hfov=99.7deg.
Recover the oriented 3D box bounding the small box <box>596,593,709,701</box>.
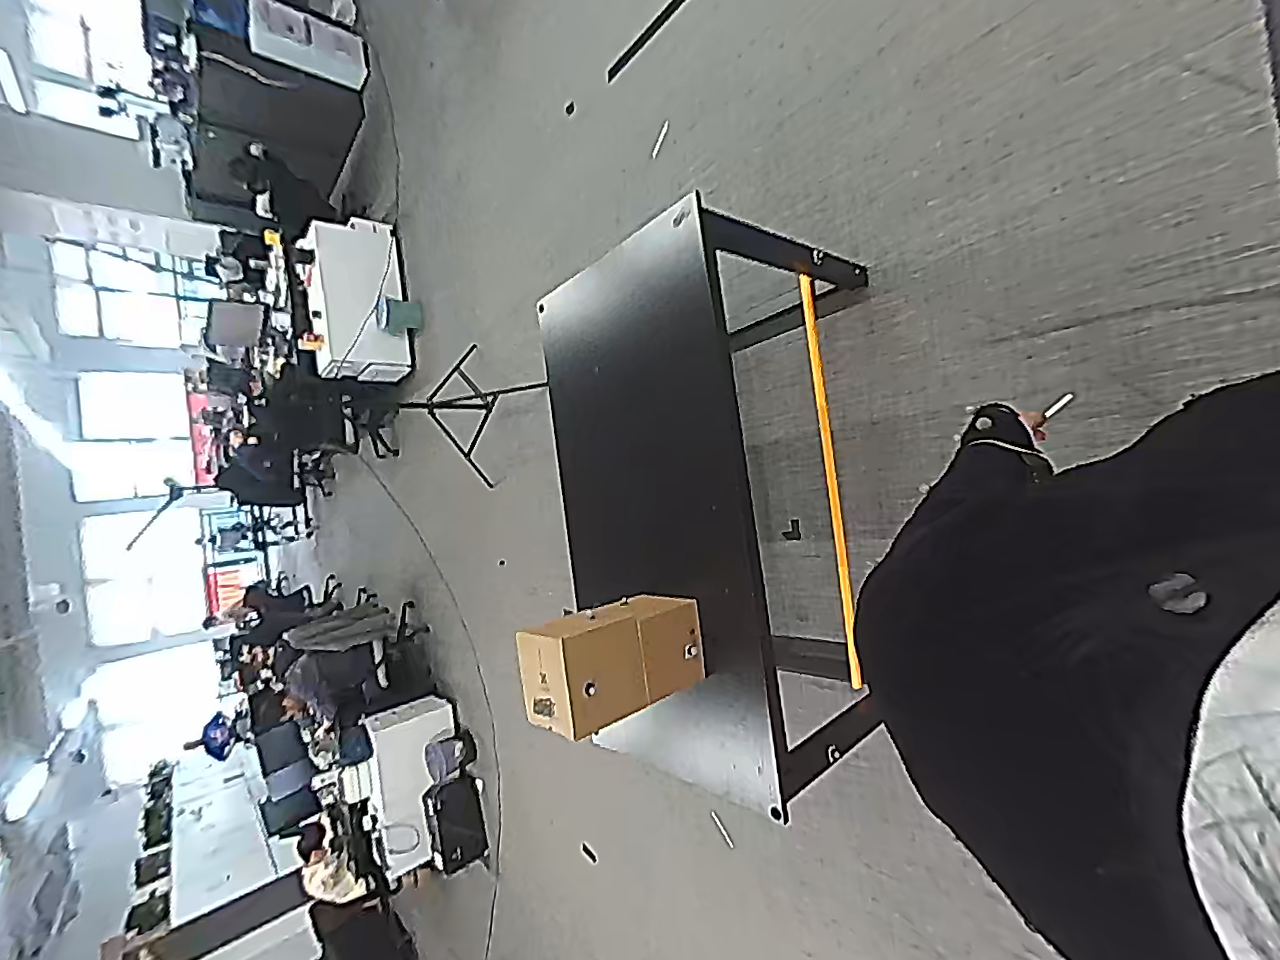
[{"bbox_3d":[0.018,0.338,1.132,0.179,0.176,0.168,-9,89,49],"label":"small box"}]

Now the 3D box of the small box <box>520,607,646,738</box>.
[{"bbox_3d":[-0.105,0.352,1.023,0.168,0.176,0.179,-11,87,49],"label":"small box"}]
